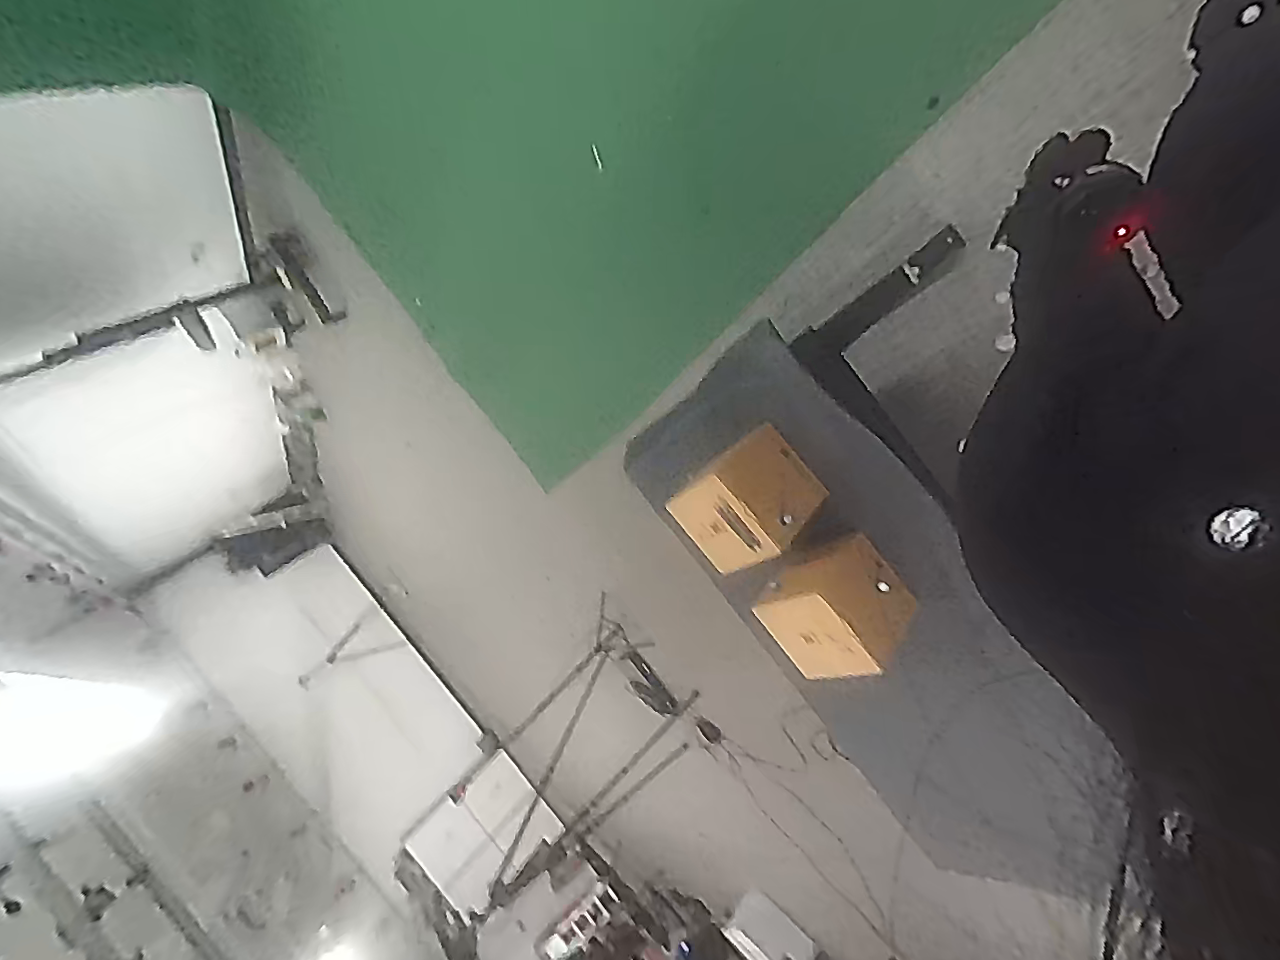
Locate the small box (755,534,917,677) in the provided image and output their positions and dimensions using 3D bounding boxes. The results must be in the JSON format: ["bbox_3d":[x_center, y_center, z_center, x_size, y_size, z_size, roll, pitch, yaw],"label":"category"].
[{"bbox_3d":[0.345,0.222,0.951,0.168,0.176,0.179,51,145,-1],"label":"small box"}]
